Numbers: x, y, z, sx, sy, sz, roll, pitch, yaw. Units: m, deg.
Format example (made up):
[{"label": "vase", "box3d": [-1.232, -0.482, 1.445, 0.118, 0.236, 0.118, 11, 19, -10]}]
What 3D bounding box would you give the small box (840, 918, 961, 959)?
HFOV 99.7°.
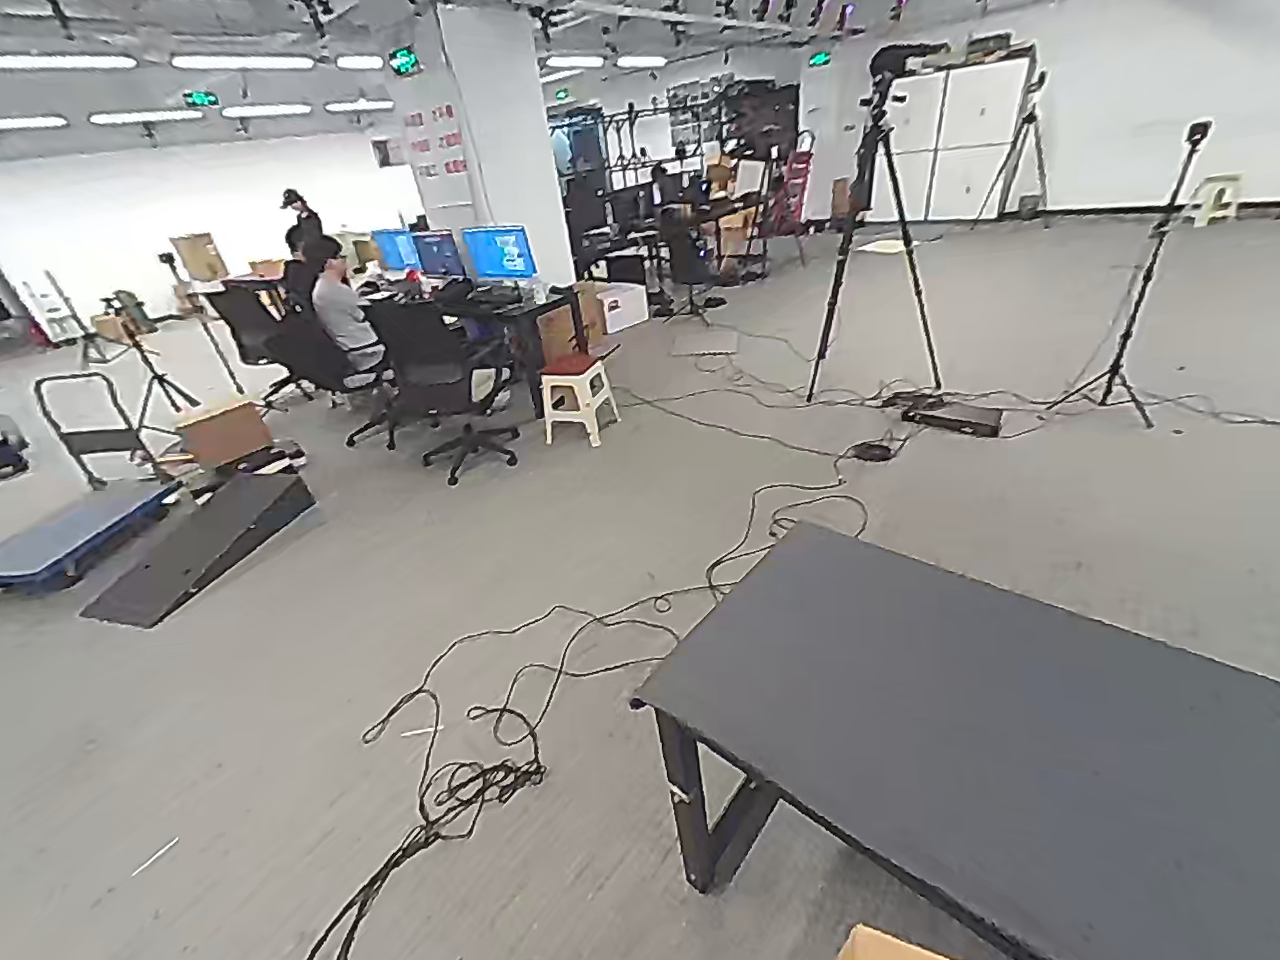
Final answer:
[{"label": "small box", "box3d": [0.197, 0.436, 0.339, 0.168, 0.176, 0.179, 10, 37, 17]}]
